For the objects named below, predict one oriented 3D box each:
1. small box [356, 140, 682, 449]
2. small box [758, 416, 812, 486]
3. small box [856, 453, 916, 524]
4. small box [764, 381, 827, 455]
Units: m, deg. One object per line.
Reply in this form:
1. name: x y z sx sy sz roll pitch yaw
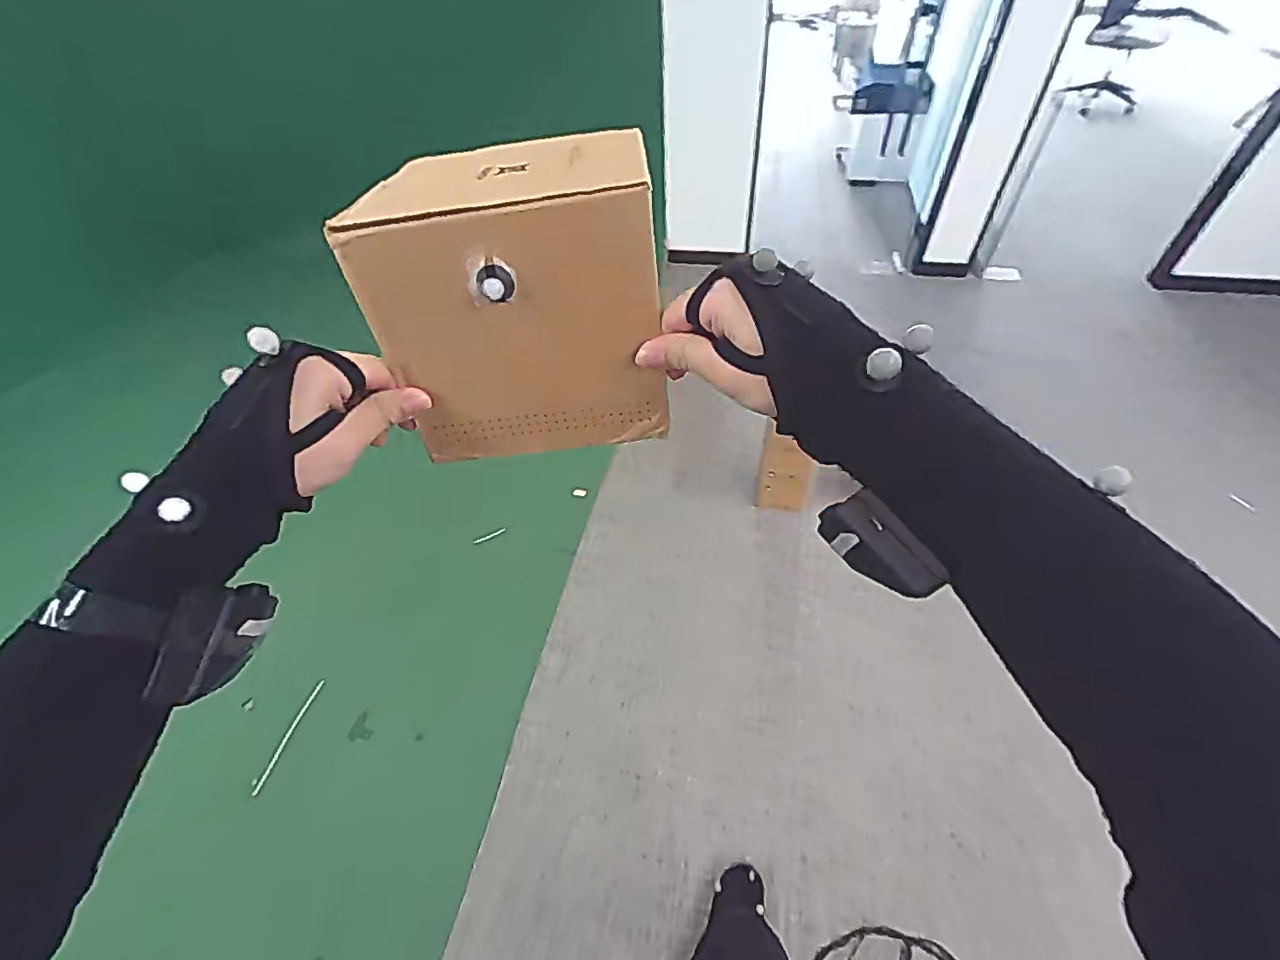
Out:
1. small box: -0.065 -0.136 0.404 0.179 0.176 0.168 -5 40 3
2. small box: 0.507 -0.099 1.894 0.168 0.176 0.179 6 48 8
3. small box: 0.896 0.034 1.972 0.168 0.176 0.179 14 52 14
4. small box: 0.504 -0.200 1.763 0.179 0.176 0.168 7 49 9
